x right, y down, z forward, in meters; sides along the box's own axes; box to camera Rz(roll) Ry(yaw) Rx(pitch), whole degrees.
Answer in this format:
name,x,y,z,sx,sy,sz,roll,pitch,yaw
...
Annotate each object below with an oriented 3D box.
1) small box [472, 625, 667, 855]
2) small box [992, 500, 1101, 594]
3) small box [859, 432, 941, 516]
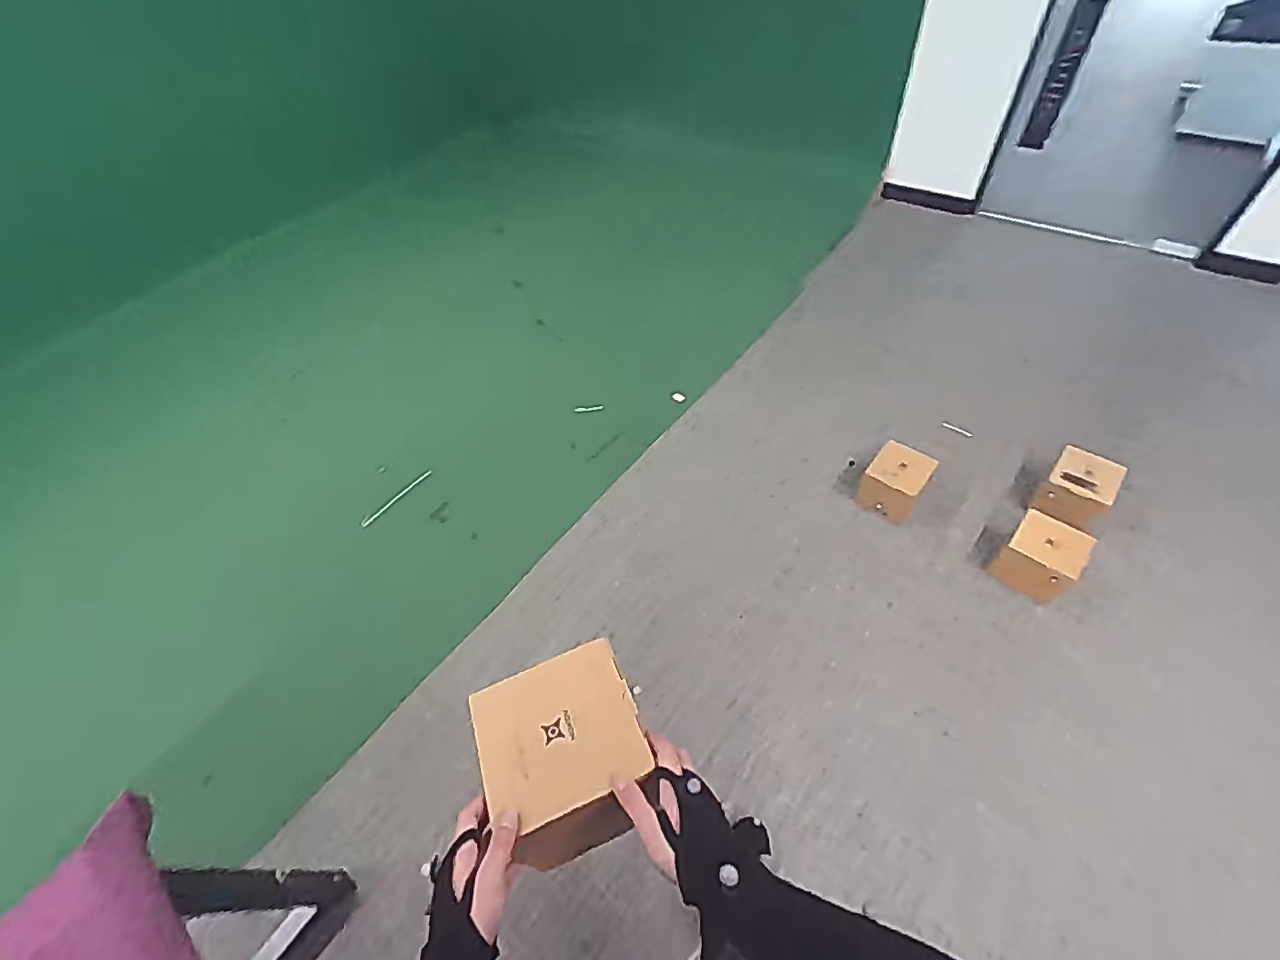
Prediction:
name,x,y,z,sx,sy,sz,roll,pitch,yaw
small box,-0.076,0.308,0.640,0.179,0.176,0.168,-22,47,-8
small box,1.156,0.196,1.552,0.179,0.176,0.168,33,65,27
small box,0.835,-0.017,1.753,0.168,0.176,0.179,32,64,28
